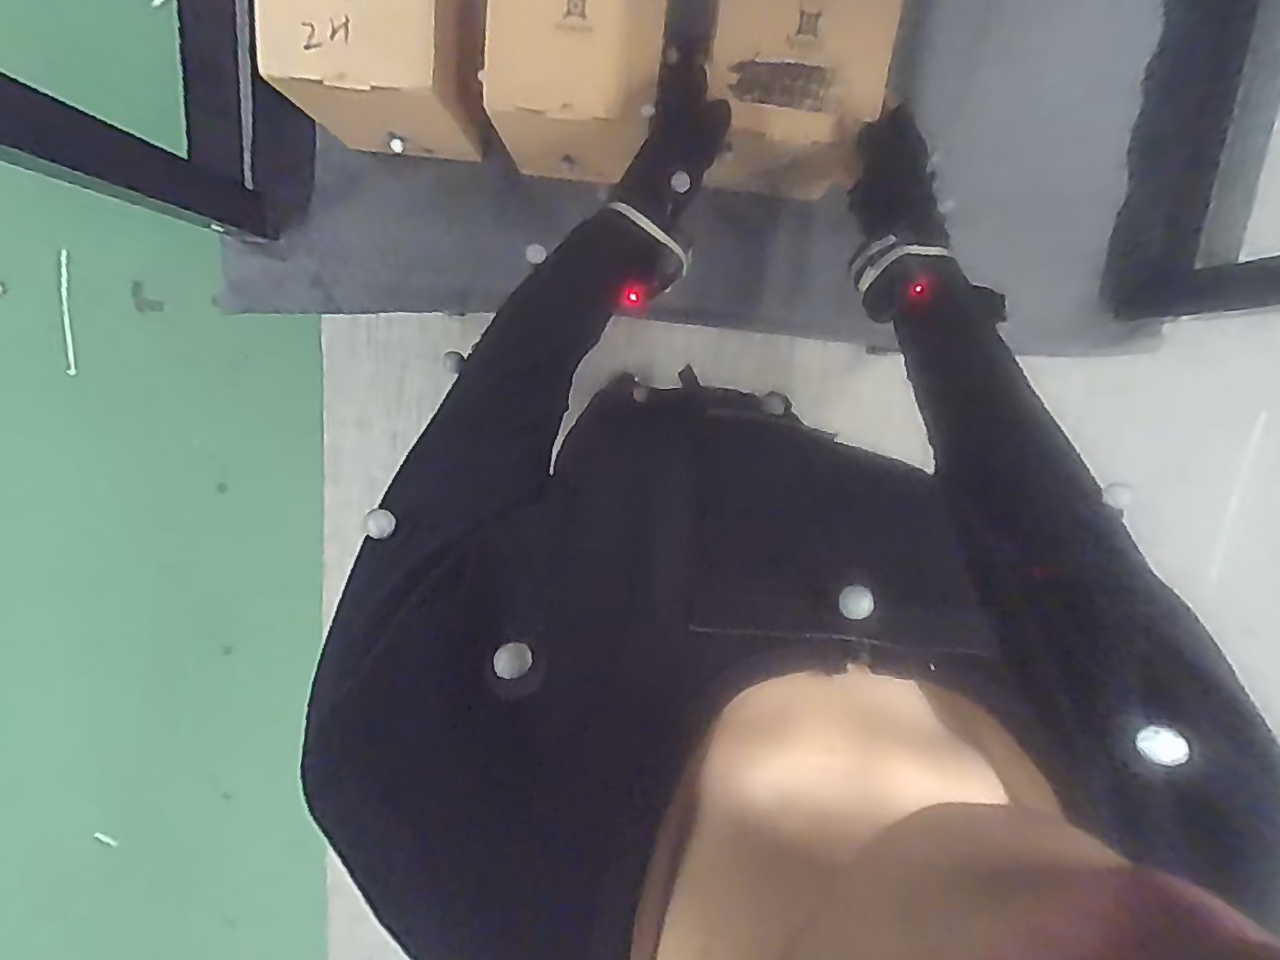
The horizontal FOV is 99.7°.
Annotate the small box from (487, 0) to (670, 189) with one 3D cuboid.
[{"bbox_3d":[-0.058,-0.442,0.582,0.168,0.176,0.179,5,101,-2],"label":"small box"}]

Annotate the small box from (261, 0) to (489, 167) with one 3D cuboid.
[{"bbox_3d":[-0.265,-0.467,0.574,0.168,0.176,0.179,5,100,-1],"label":"small box"}]
